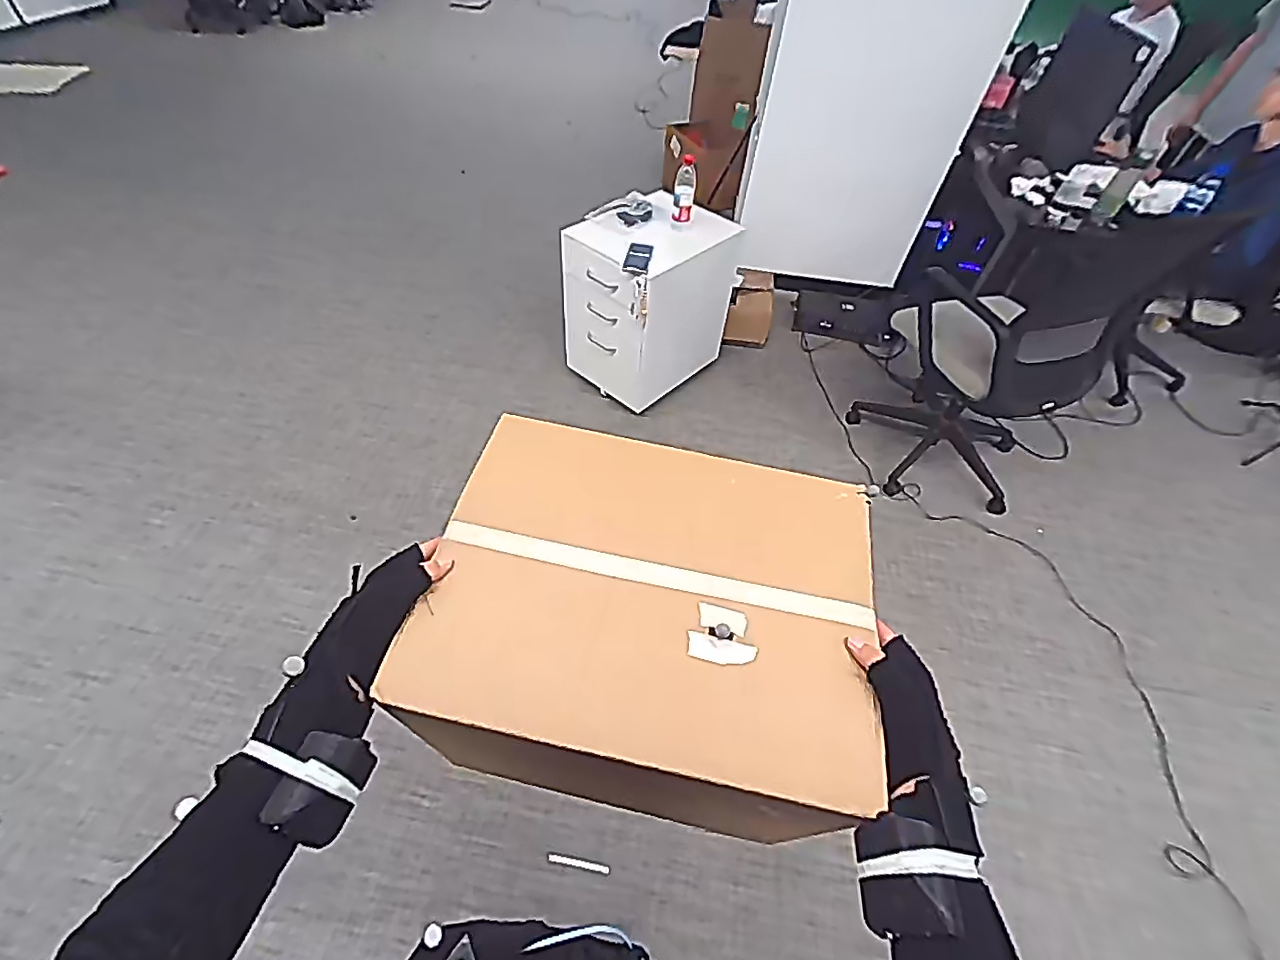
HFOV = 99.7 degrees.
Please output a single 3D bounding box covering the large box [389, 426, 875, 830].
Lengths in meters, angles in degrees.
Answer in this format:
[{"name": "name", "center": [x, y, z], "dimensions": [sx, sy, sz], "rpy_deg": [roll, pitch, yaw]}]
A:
[{"name": "large box", "center": [0.003, 0.181, 0.633], "dimensions": [0.408, 0.320, 0.320], "rpy_deg": [12, 55, 3]}]
